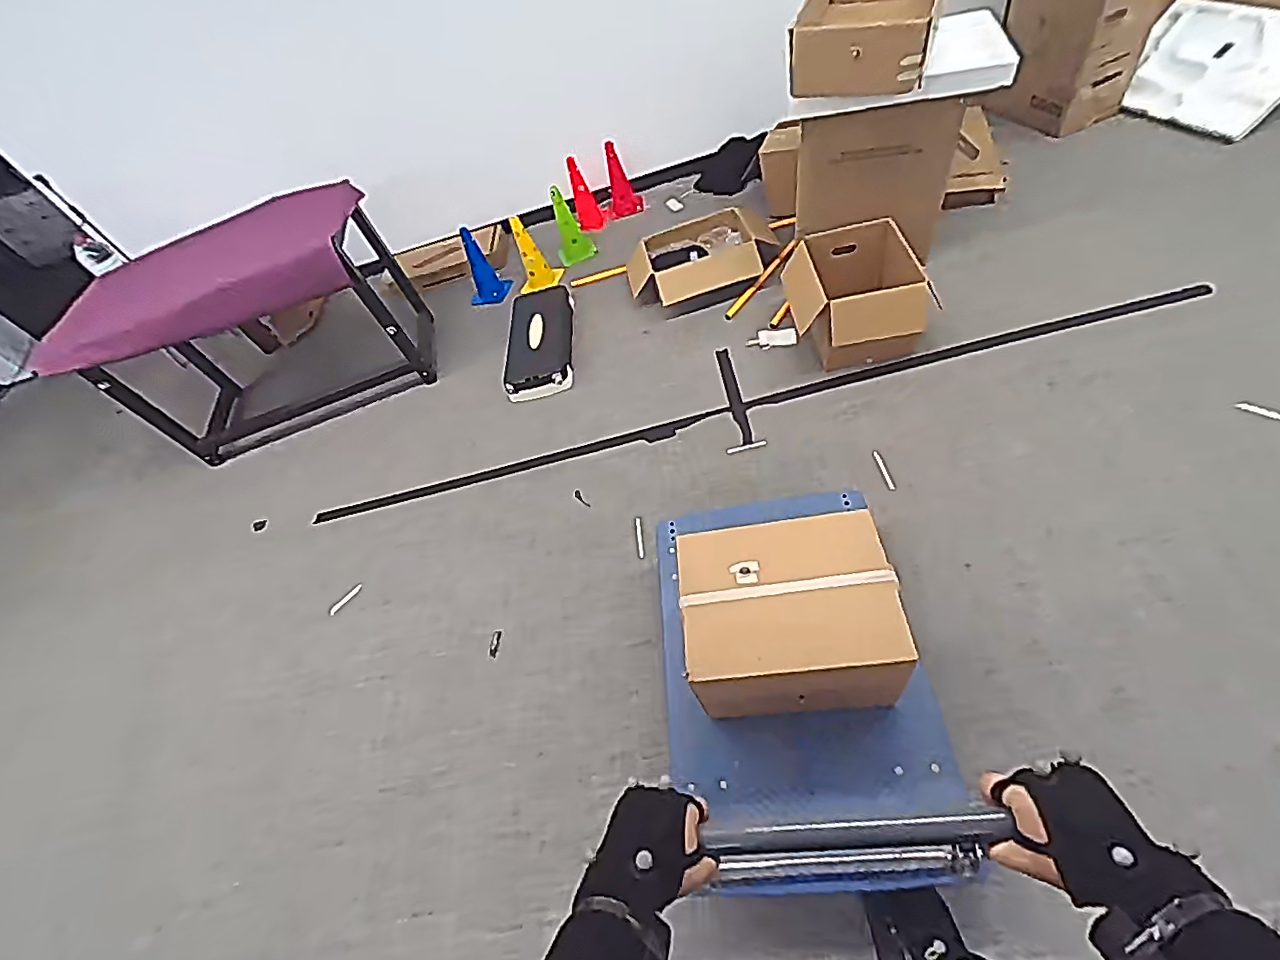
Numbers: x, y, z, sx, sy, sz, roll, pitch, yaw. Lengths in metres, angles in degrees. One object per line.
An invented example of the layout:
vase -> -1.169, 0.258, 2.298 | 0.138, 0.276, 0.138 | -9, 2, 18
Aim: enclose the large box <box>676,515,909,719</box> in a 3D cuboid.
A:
large box -> 0.315, 0.314, 1.186 | 0.408, 0.320, 0.320 | -10, 52, 11
